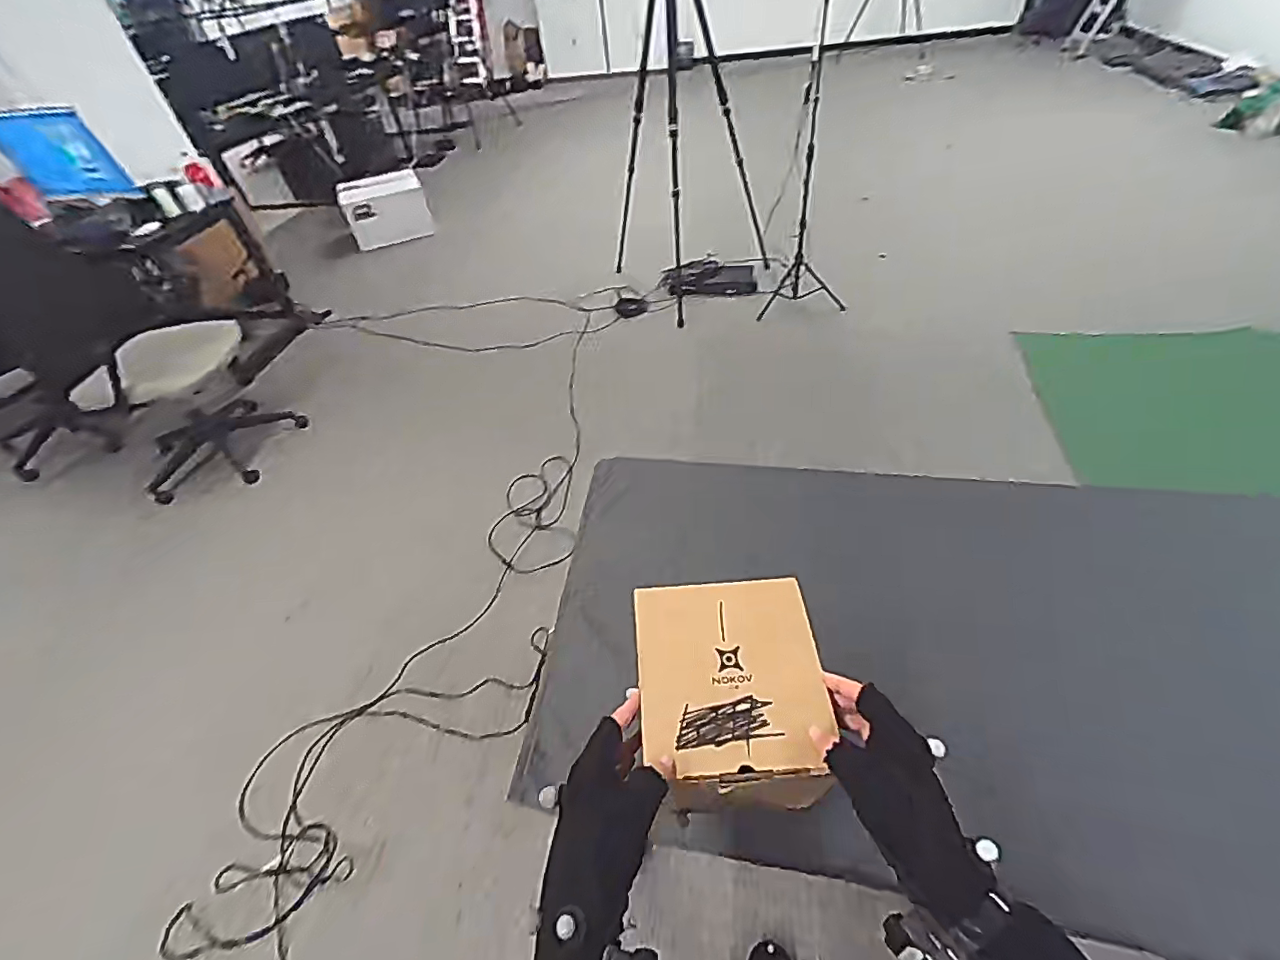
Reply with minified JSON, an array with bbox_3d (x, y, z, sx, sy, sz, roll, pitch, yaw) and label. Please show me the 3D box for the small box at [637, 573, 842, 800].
[{"bbox_3d":[0.086,0.216,0.553,0.168,0.176,0.179,-4,50,0],"label":"small box"}]
